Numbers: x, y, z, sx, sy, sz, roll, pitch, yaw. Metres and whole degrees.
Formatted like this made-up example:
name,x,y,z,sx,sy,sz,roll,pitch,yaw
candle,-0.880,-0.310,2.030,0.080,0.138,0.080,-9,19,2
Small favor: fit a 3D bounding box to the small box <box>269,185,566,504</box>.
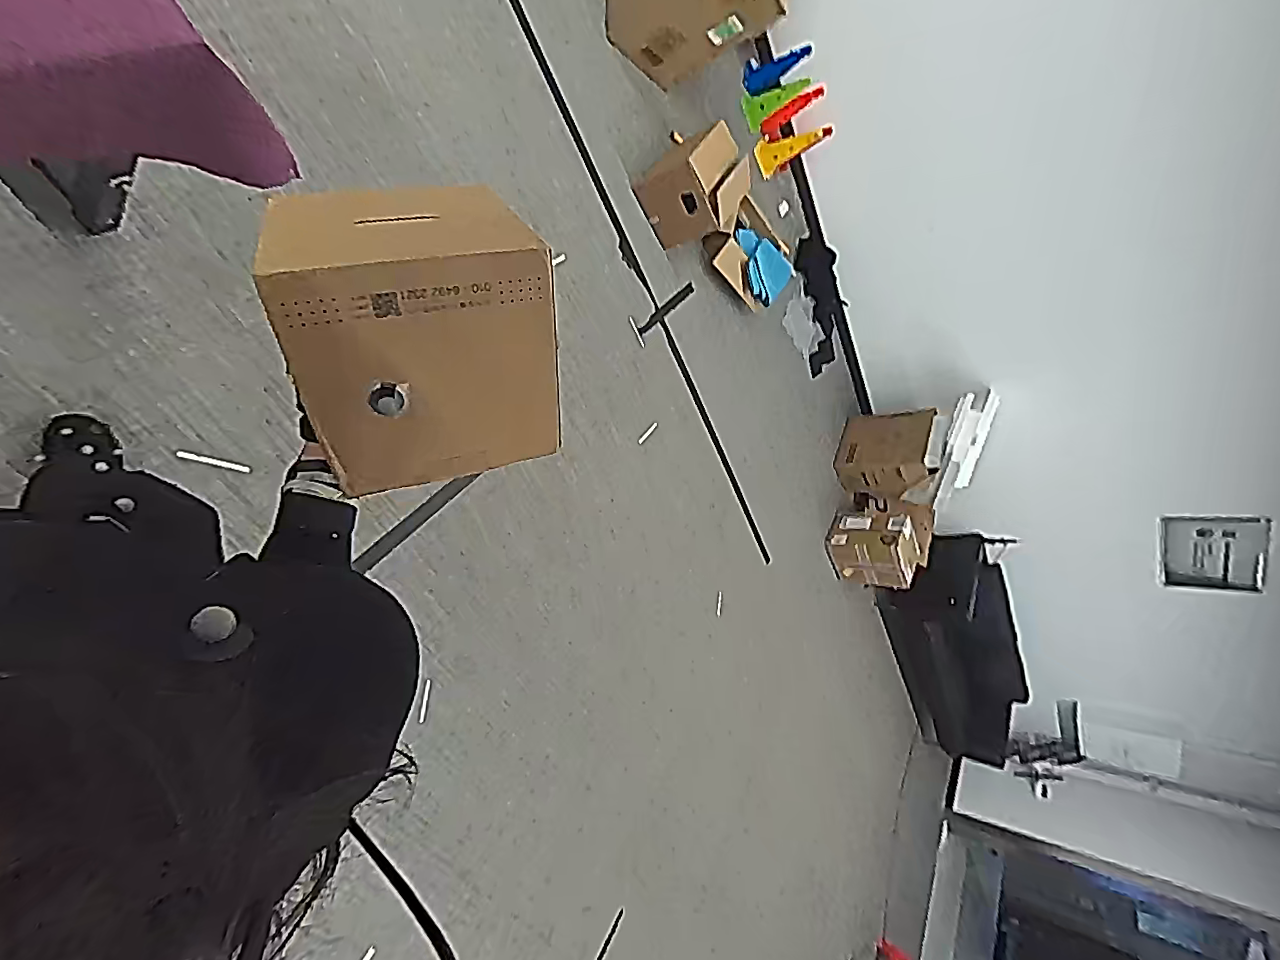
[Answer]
name,x,y,z,sx,sy,sz,roll,pitch,yaw
small box,-0.164,-0.114,0.417,0.168,0.179,0.176,-13,133,-22
